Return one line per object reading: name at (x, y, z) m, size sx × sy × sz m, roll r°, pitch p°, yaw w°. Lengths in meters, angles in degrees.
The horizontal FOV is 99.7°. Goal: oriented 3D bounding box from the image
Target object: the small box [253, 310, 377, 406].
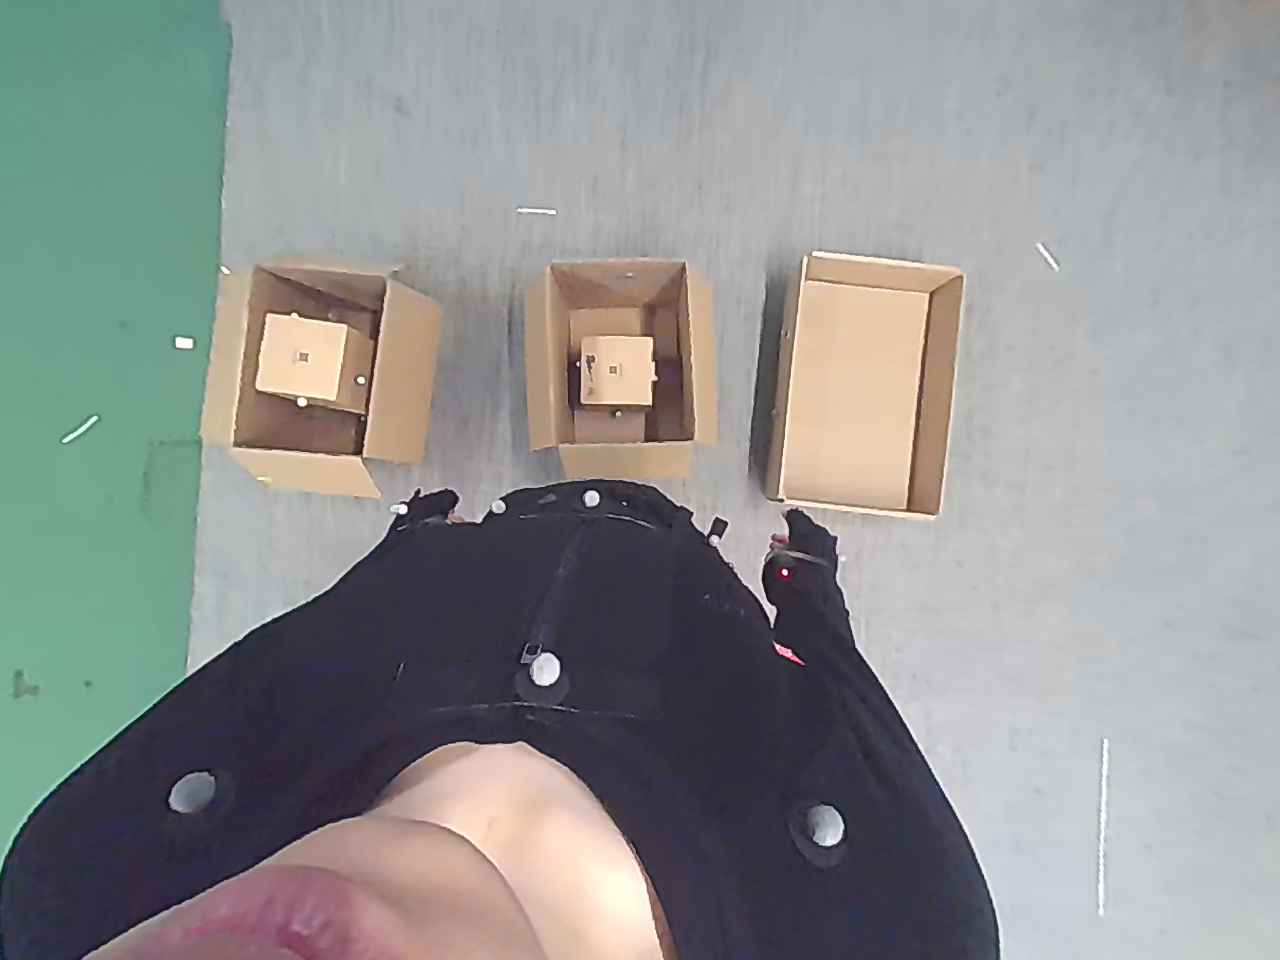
small box at (-0.721, -0.266, 1.218) m, size 0.179 × 0.176 × 0.168 m, roll 7°, pitch 89°, yaw -1°
